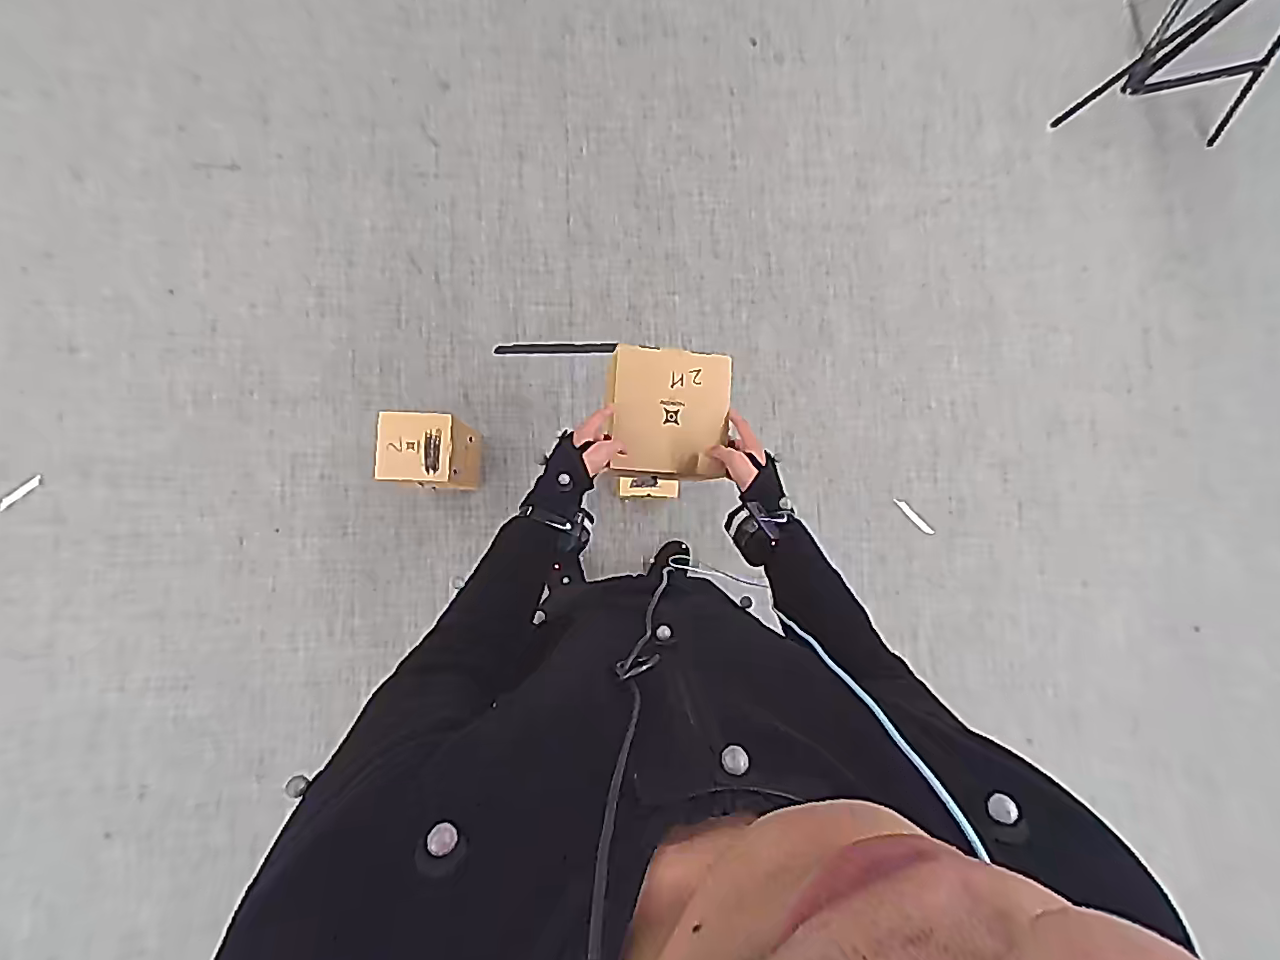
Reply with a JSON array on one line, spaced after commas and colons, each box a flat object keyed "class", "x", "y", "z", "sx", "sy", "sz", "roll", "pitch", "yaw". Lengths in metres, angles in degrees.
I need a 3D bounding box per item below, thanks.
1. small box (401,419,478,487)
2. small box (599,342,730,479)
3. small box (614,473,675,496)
[{"class": "small box", "x": -0.559, "y": -0.071, "z": 1.528, "sx": 0.168, "sy": 0.176, "sz": 0.179, "roll": 1, "pitch": 85, "yaw": -5}, {"class": "small box", "x": 0.029, "y": -0.094, "z": 0.823, "sx": 0.168, "sy": 0.176, "sz": 0.179, "roll": 4, "pitch": 87, "yaw": -9}, {"class": "small box", "x": 0.012, "y": -0.044, "z": 1.577, "sx": 0.168, "sy": 0.176, "sz": 0.179, "roll": 2, "pitch": 85, "yaw": -6}]
